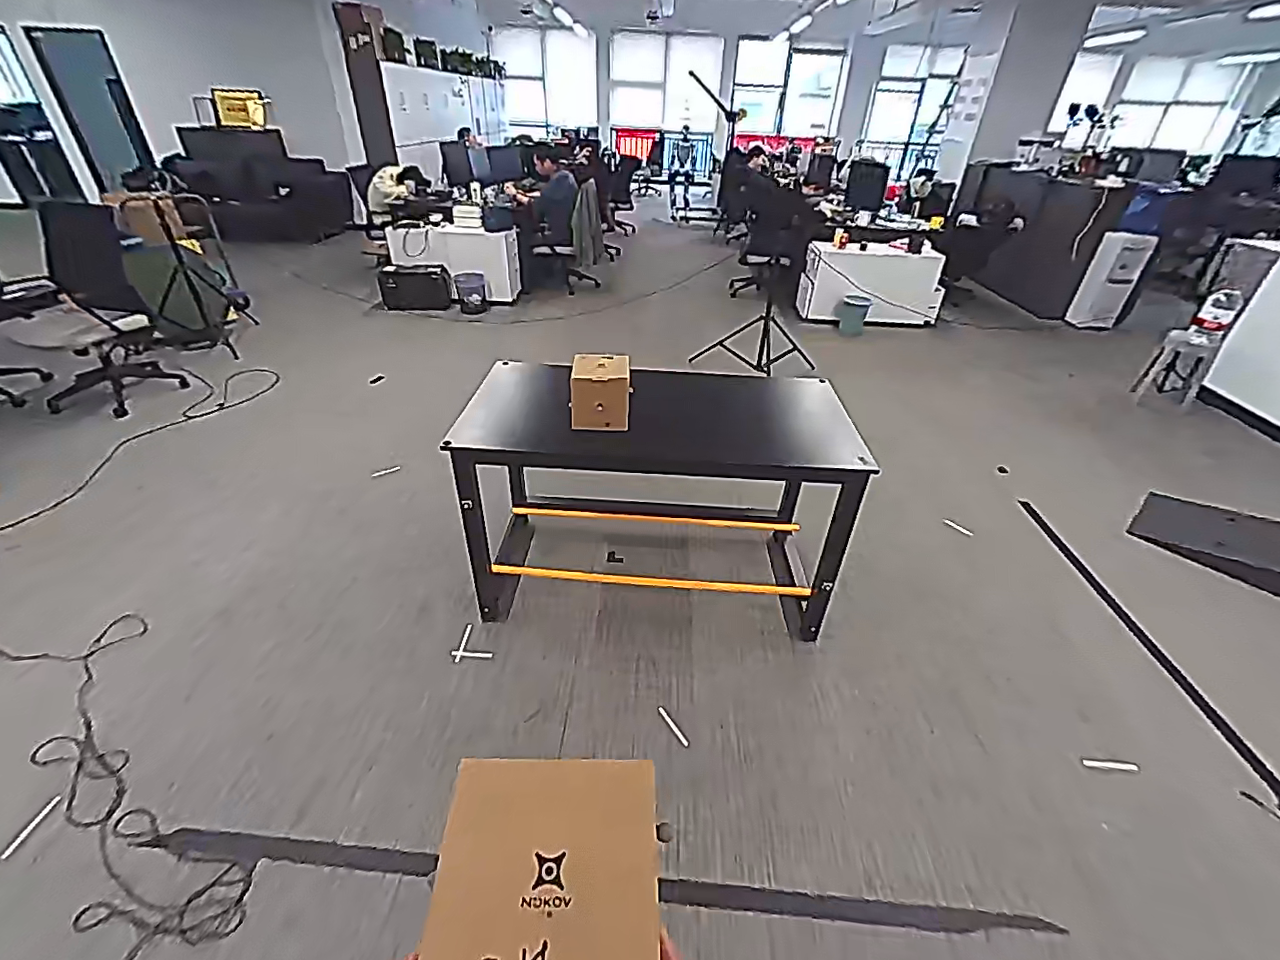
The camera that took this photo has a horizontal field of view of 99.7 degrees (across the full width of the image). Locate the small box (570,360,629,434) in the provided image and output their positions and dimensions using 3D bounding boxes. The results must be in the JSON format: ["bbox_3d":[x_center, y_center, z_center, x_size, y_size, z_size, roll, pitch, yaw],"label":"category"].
[{"bbox_3d":[-0.117,-0.250,1.628,0.168,0.176,0.179,0,34,-2],"label":"small box"}]

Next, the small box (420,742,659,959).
[{"bbox_3d":[-0.072,0.348,0.465,0.168,0.176,0.179,1,44,-2],"label":"small box"}]
